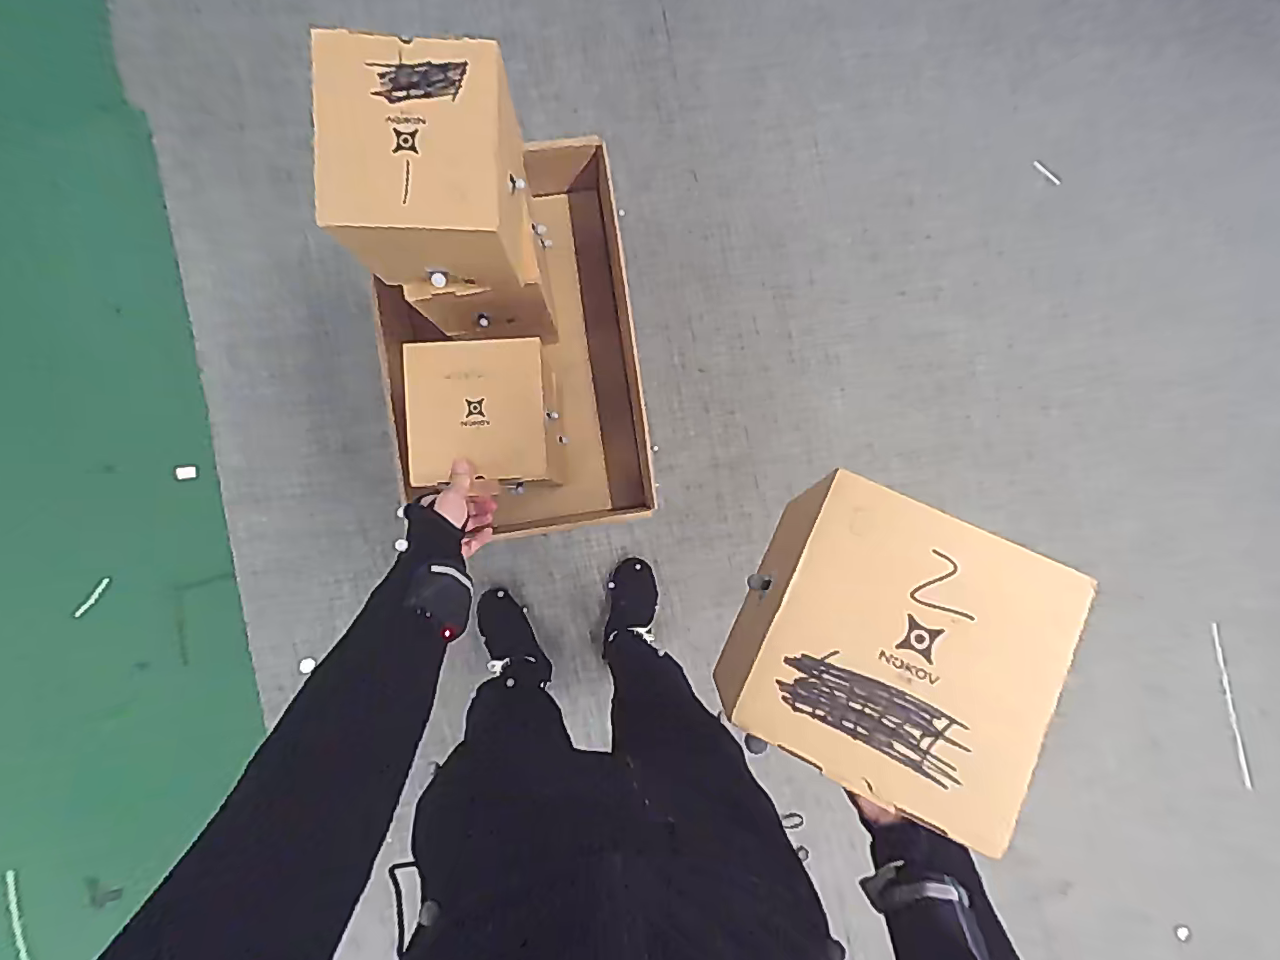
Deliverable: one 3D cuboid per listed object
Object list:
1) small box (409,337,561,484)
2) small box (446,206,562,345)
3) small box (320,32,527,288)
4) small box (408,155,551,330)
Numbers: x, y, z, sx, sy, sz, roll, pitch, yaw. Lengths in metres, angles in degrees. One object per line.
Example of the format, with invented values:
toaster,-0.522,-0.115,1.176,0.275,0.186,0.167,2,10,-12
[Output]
small box,-0.200,-0.084,0.739,0.168,0.176,0.179,-3,88,-4
small box,-0.229,-0.328,0.906,0.168,0.176,0.179,-8,93,-2
small box,-0.217,-0.324,0.581,0.168,0.176,0.179,0,92,-4
small box,-0.222,-0.322,0.745,0.168,0.176,0.179,-10,92,-4
